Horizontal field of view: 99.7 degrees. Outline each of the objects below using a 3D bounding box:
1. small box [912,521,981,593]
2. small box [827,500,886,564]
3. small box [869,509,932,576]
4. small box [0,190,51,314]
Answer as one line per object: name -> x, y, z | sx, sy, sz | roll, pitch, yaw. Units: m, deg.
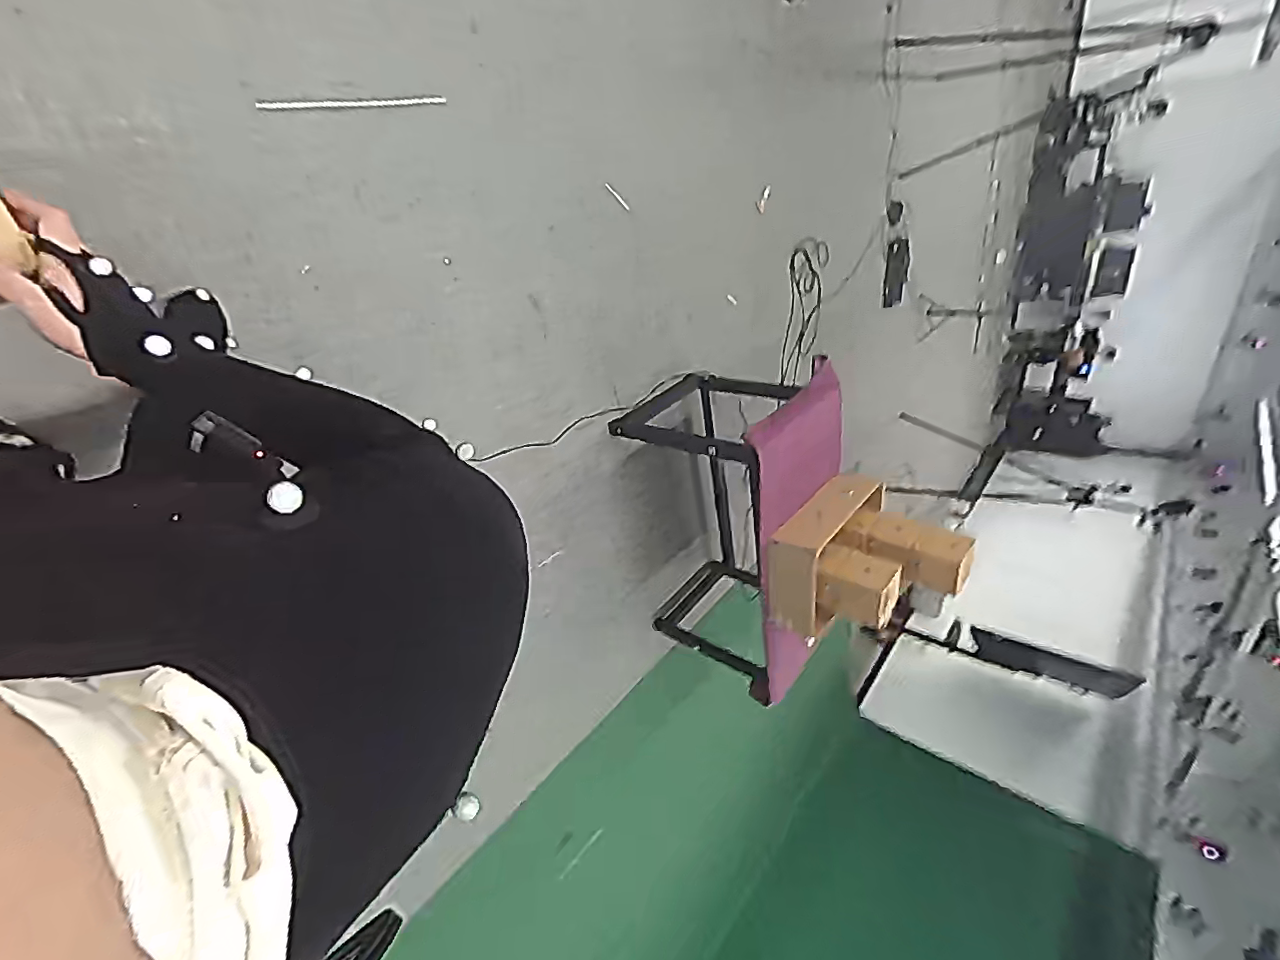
small box -> 1.112, 0.273, 1.967 | 0.179, 0.176, 0.168 | -34, 126, -35
small box -> 0.871, 0.202, 2.175 | 0.179, 0.176, 0.168 | -34, 126, -35
small box -> 0.995, 0.235, 2.073 | 0.179, 0.176, 0.168 | -35, 127, -36
small box -> -0.623, -0.217, 0.418 | 0.168, 0.176, 0.179 | -37, 121, -42
